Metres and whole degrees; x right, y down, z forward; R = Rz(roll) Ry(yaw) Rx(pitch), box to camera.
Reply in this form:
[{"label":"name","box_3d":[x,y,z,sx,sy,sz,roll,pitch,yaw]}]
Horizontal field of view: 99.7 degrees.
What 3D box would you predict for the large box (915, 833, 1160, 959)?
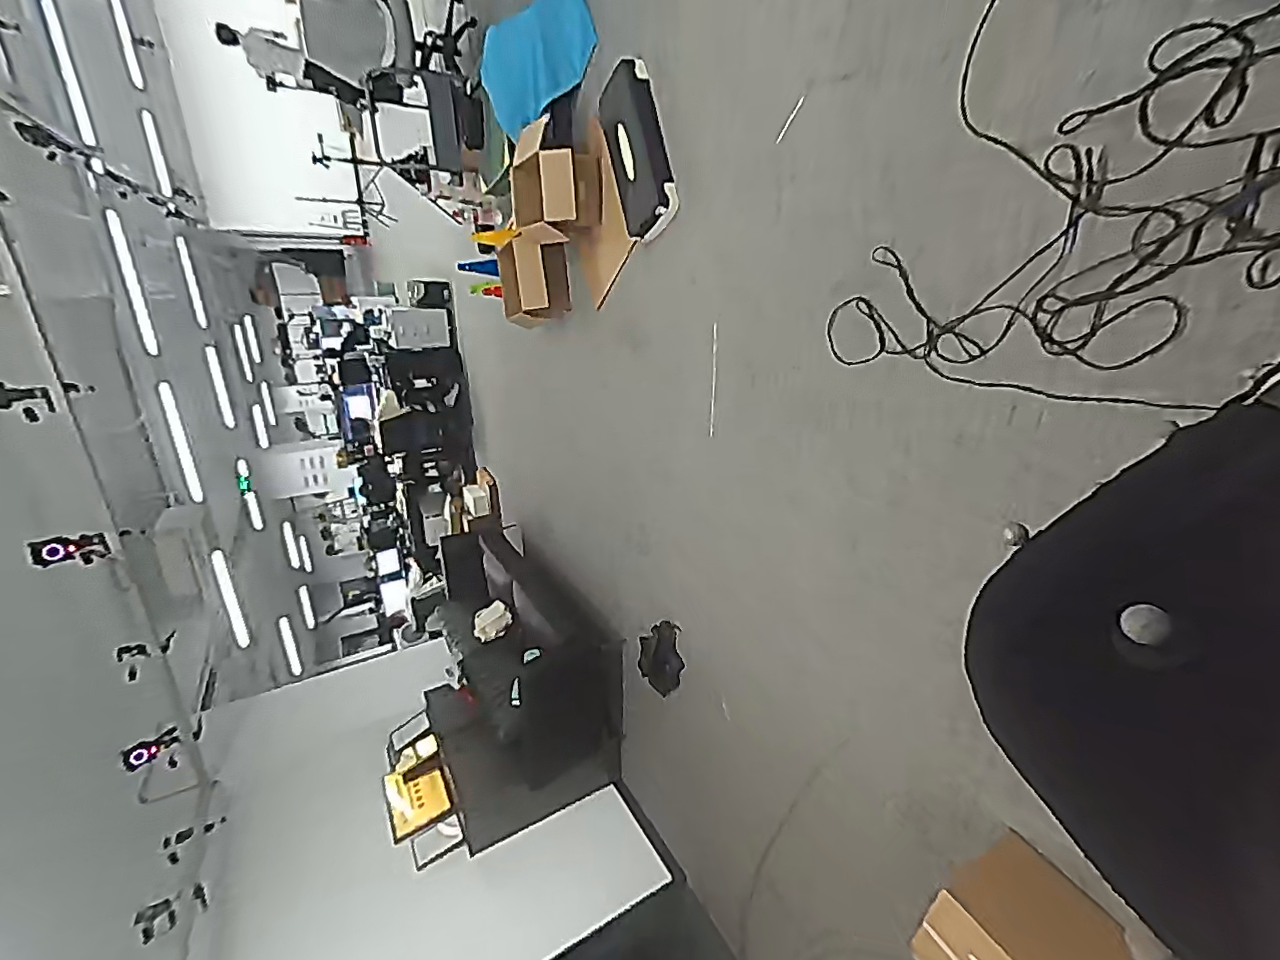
[{"label":"large box","box_3d":[0.975,1.189,1.308,0.408,0.320,0.320,40,133,50]}]
